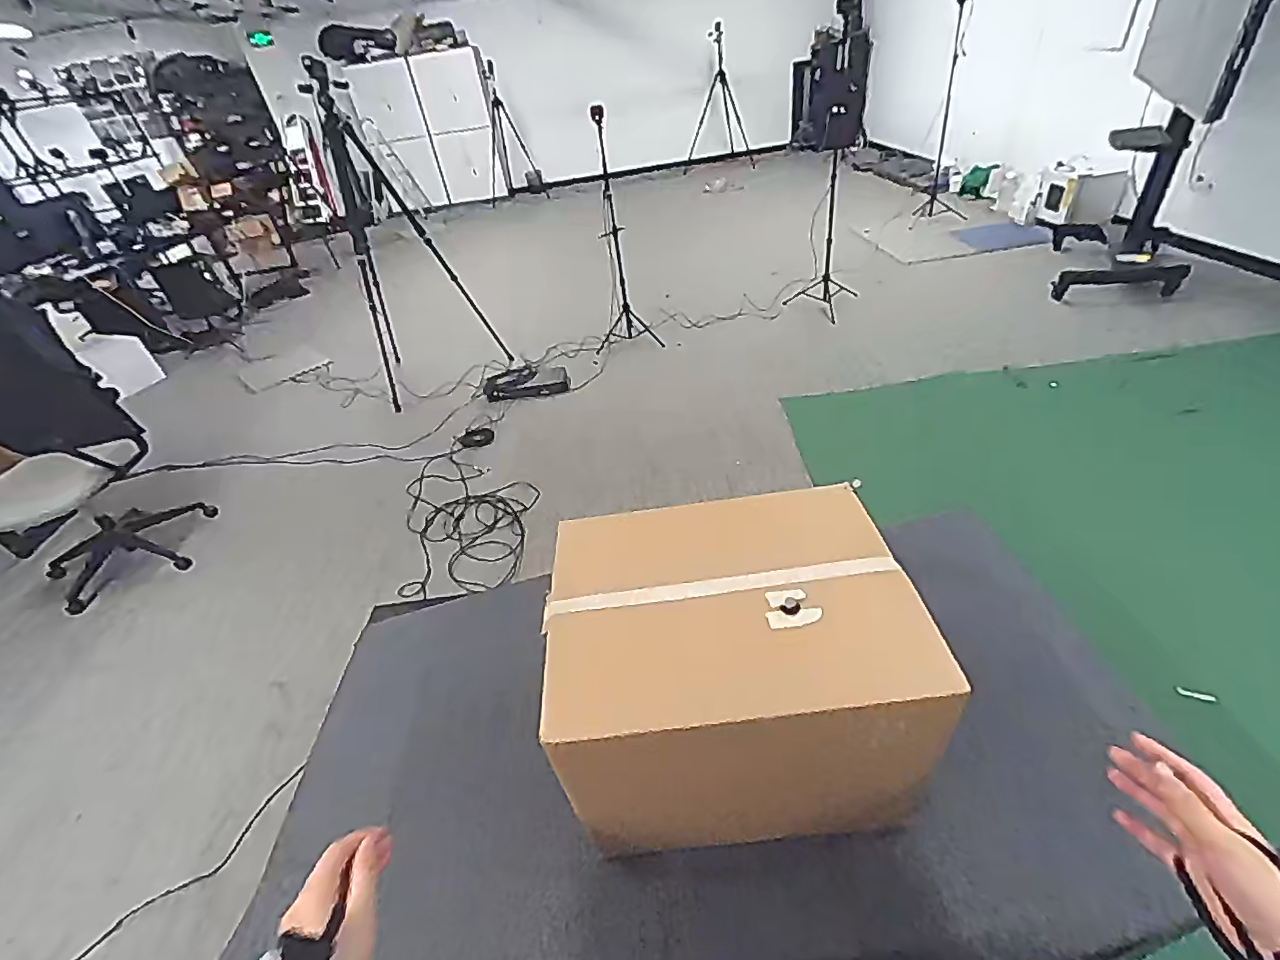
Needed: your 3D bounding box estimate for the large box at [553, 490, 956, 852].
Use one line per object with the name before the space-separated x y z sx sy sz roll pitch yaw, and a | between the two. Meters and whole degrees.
large box | 0.116 0.250 0.726 0.408 0.320 0.320 -8 38 2
